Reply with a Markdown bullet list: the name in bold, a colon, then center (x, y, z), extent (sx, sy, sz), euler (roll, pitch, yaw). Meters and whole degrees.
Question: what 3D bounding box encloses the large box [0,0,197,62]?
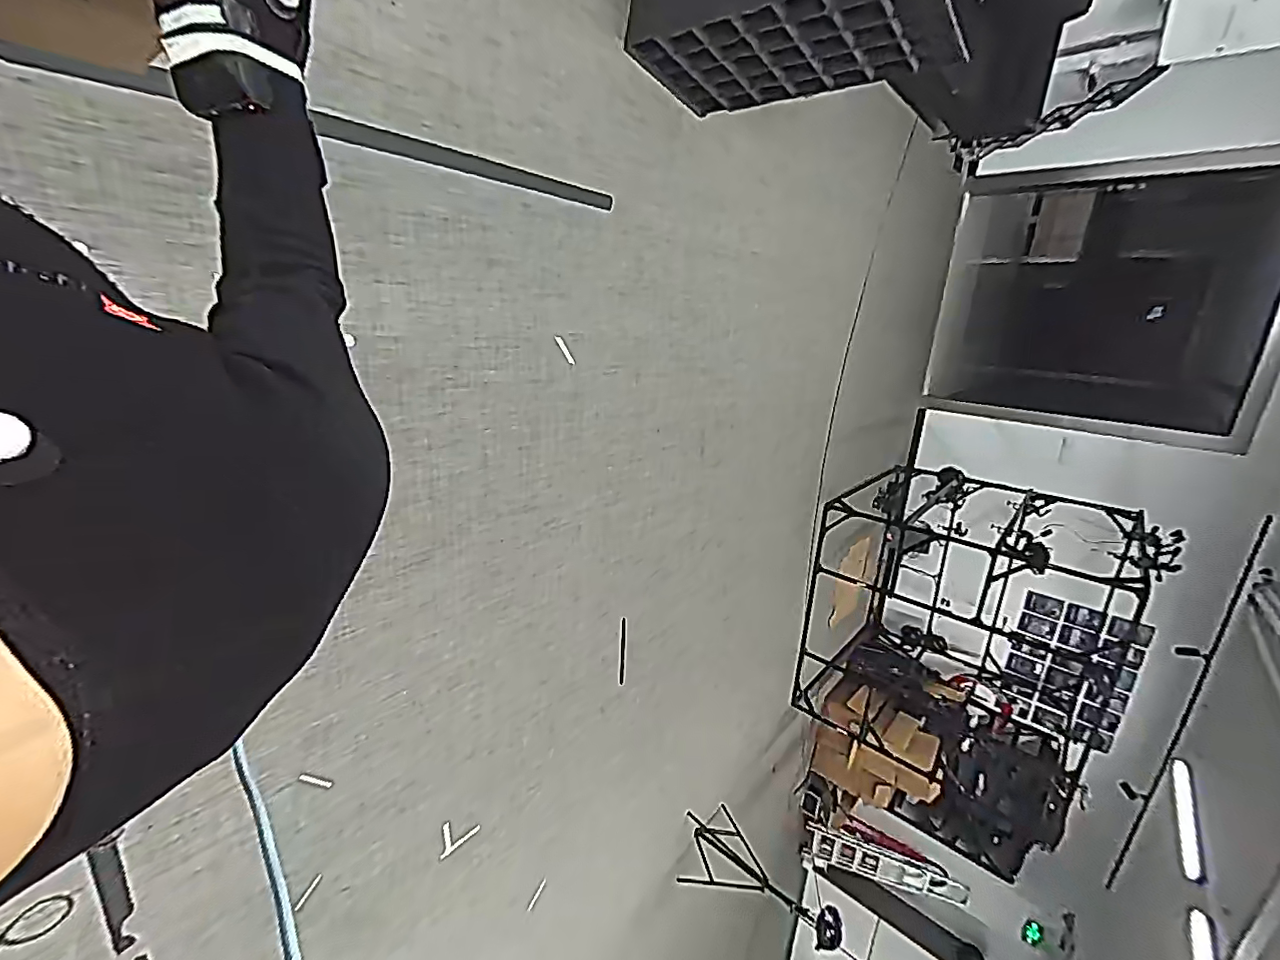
- **large box**: center (-0.525, -0.476, 0.266), extent (0.408, 0.320, 0.320), euler (-17, 121, -46)
